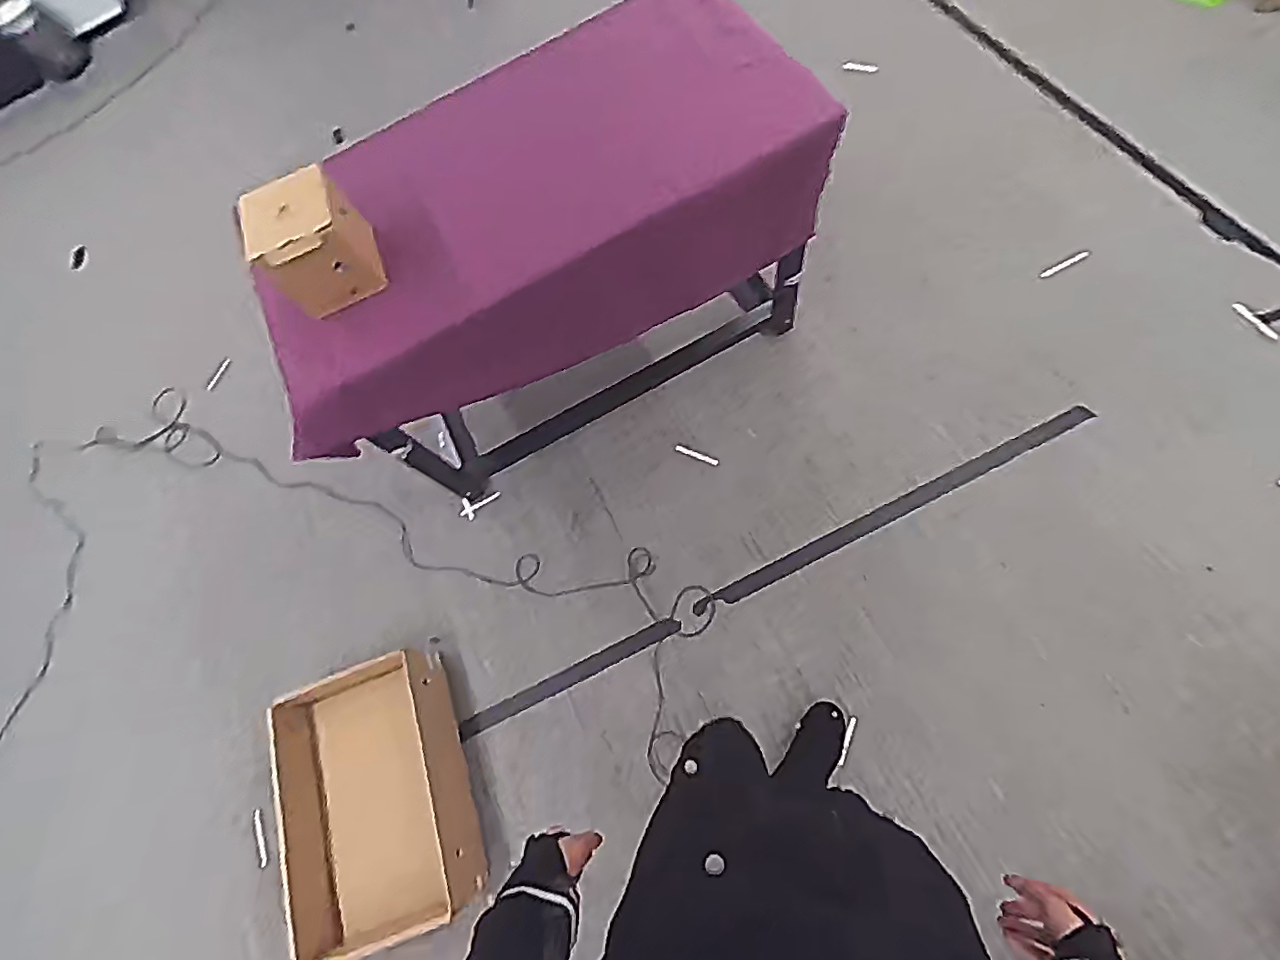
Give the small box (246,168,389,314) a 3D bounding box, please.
[{"bbox_3d":[-0.620,-0.452,1.056,0.168,0.176,0.179,-24,68,0],"label":"small box"}]
